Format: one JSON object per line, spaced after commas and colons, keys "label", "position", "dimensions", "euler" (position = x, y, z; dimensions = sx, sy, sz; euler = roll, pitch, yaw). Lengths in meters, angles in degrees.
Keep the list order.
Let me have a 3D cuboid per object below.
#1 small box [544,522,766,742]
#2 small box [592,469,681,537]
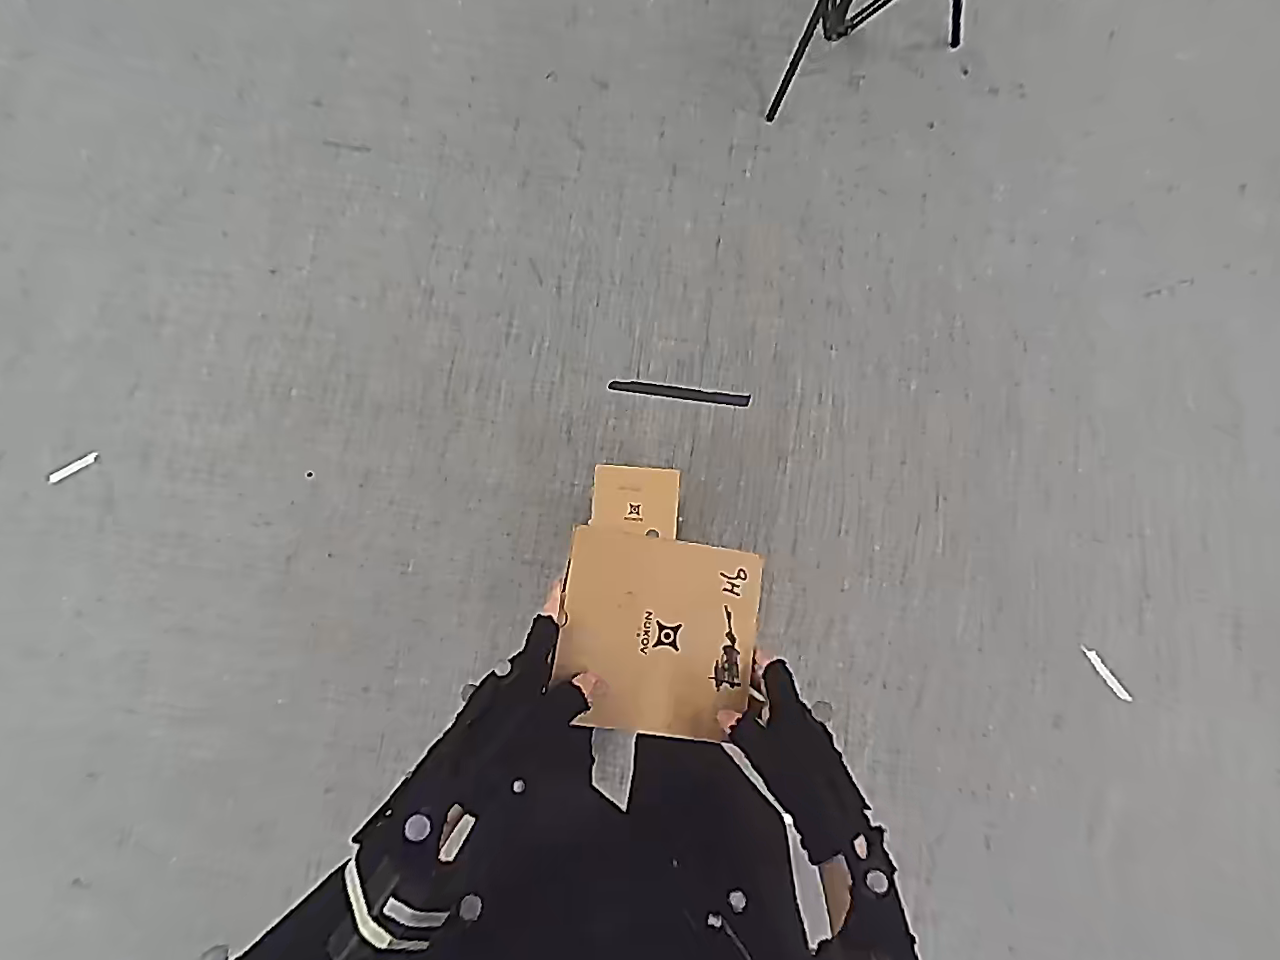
{"label": "small box", "position": [0.010, 0.145, 0.546], "dimensions": [0.179, 0.176, 0.168], "euler": [10, 79, -4]}
{"label": "small box", "position": [-0.010, 0.082, 1.107], "dimensions": [0.168, 0.176, 0.179], "euler": [4, 81, -1]}
